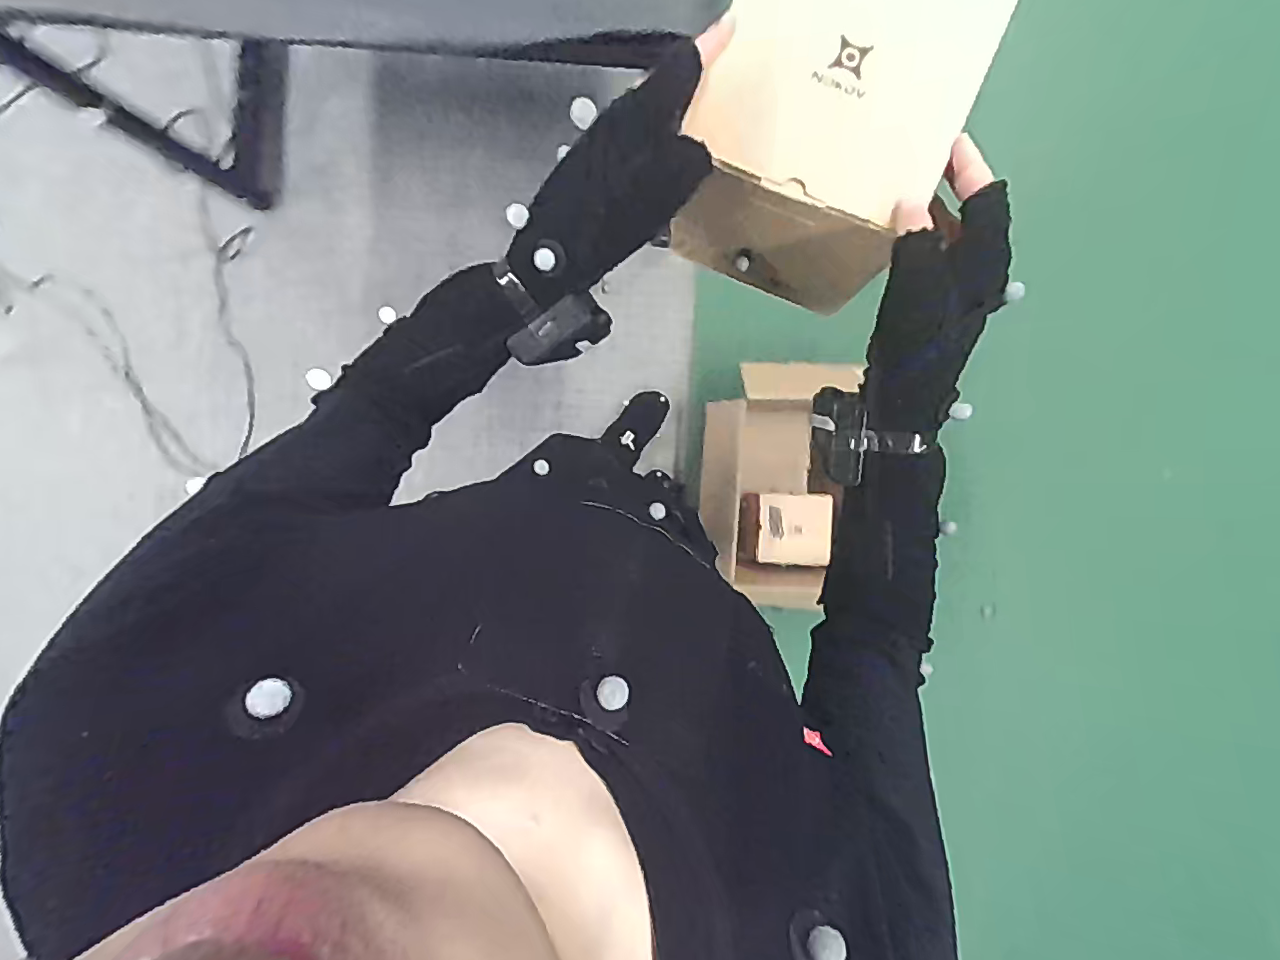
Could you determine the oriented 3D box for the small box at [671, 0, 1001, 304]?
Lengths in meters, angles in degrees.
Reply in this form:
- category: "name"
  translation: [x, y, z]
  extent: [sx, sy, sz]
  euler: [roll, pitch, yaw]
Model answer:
- category: "small box"
  translation: [0.126, -0.266, 0.423]
  extent: [0.168, 0.176, 0.179]
  euler: [22, 93, 1]
